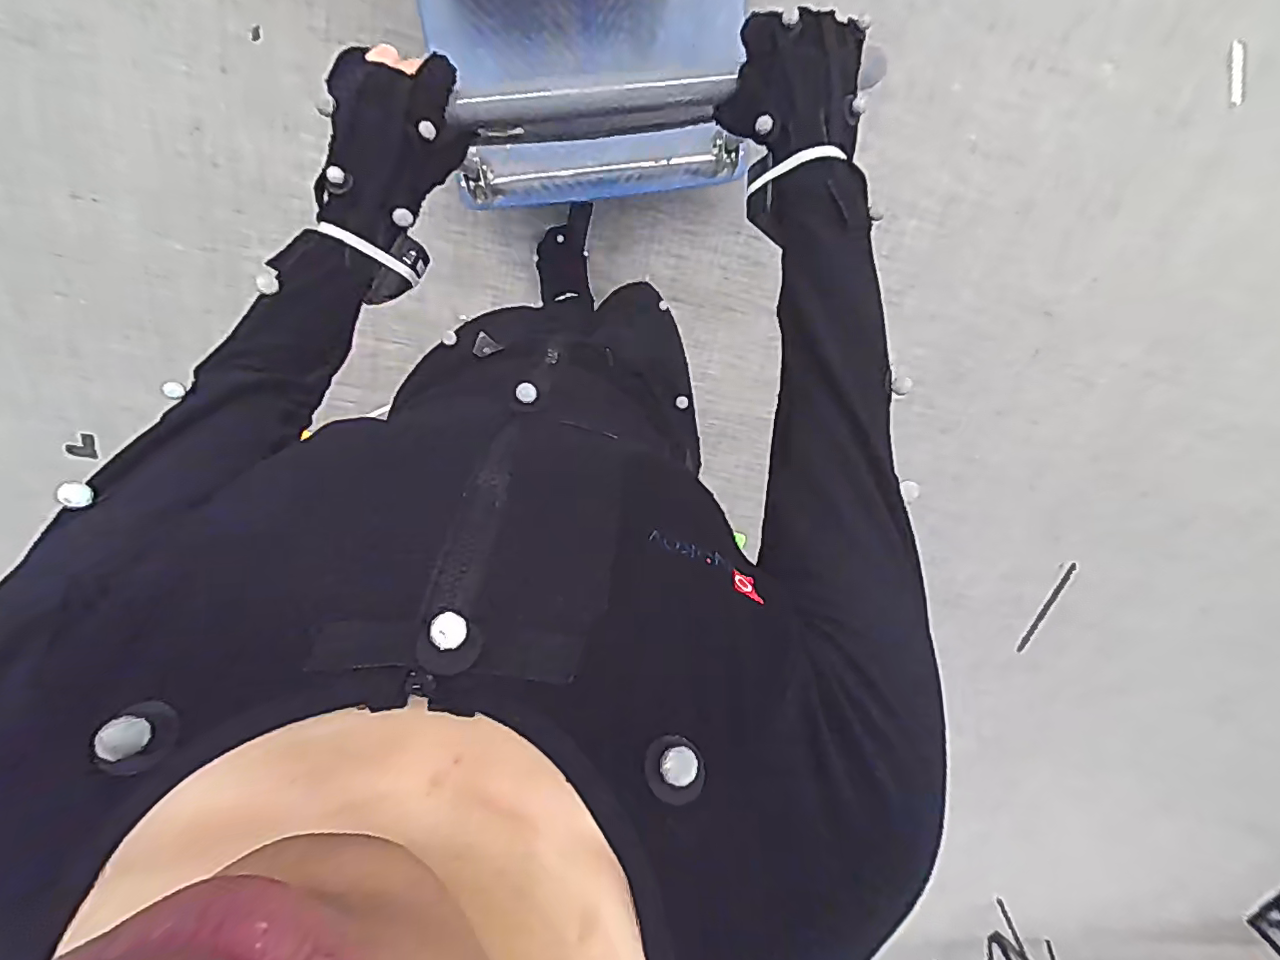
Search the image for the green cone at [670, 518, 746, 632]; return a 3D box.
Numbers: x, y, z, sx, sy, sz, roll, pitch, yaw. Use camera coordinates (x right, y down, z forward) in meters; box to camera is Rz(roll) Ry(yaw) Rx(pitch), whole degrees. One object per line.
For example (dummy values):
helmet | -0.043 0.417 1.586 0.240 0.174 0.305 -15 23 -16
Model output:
green cone | 0.226 0.294 1.527 0.202 0.368 0.200 14 114 -13
